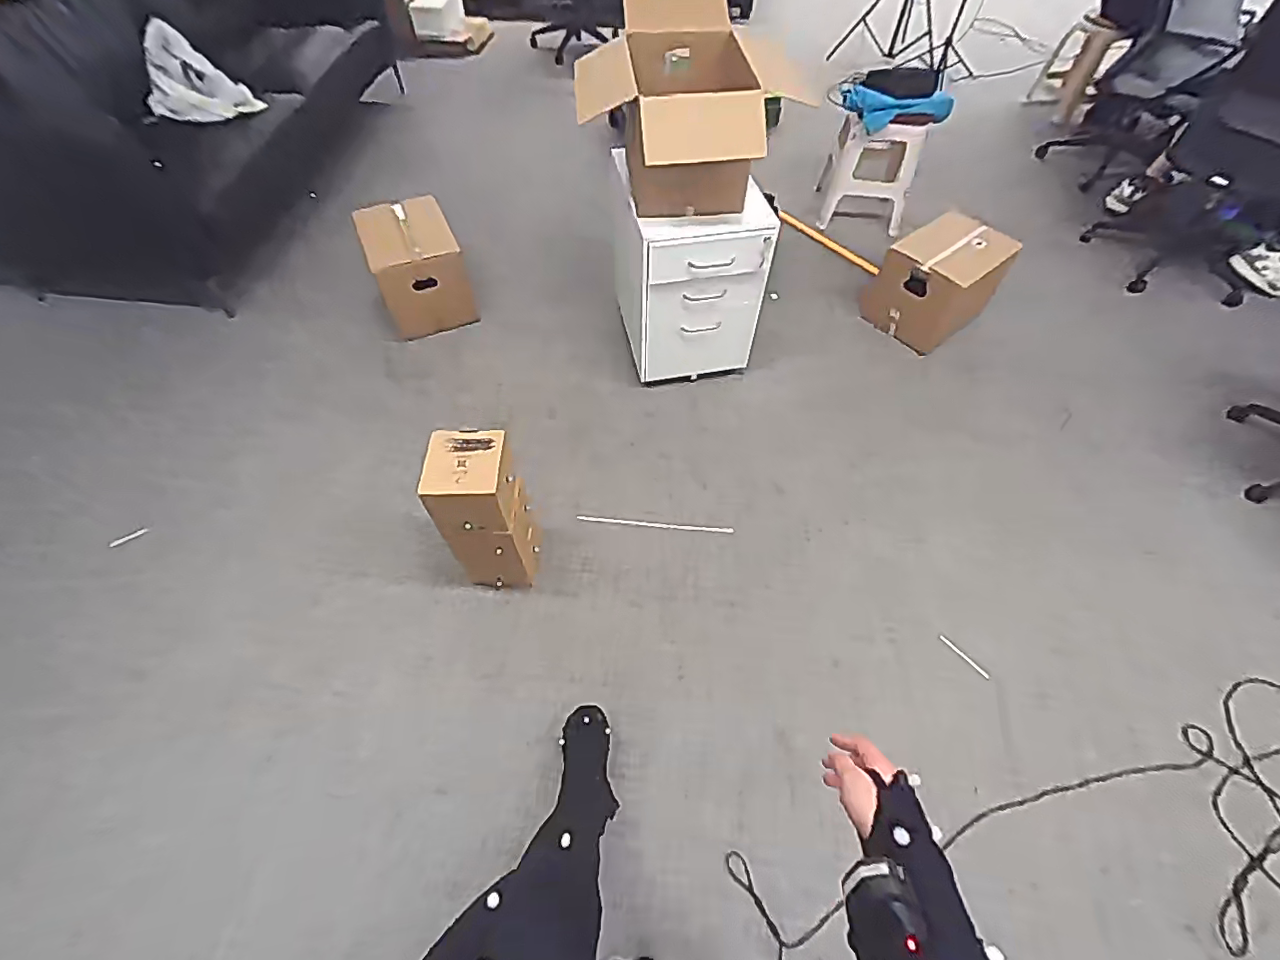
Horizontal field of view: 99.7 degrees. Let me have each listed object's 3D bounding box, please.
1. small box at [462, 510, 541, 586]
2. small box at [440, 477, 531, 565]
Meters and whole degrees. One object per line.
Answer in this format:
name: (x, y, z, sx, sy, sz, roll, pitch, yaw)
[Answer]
small box: (-0.385, 0.190, 1.526, 0.179, 0.176, 0.168, 4, 56, 2)
small box: (-0.384, 0.108, 1.385, 0.179, 0.176, 0.168, 0, 55, 2)
